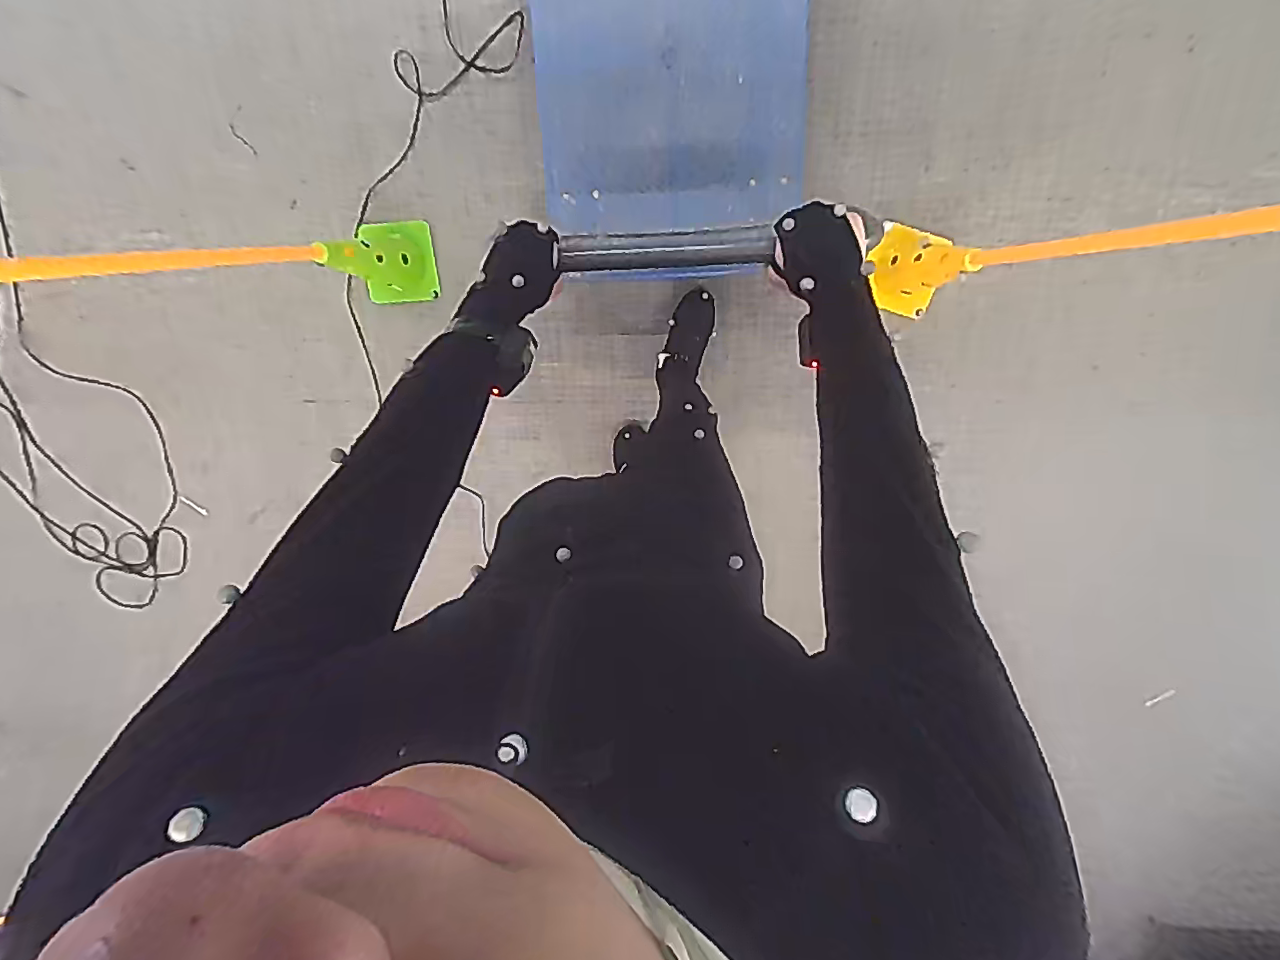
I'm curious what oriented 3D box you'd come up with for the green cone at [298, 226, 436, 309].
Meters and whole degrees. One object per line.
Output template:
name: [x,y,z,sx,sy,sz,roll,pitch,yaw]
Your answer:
green cone: [-0.671,-0.517,1.290,0.202,0.368,0.200,-2,107,6]
